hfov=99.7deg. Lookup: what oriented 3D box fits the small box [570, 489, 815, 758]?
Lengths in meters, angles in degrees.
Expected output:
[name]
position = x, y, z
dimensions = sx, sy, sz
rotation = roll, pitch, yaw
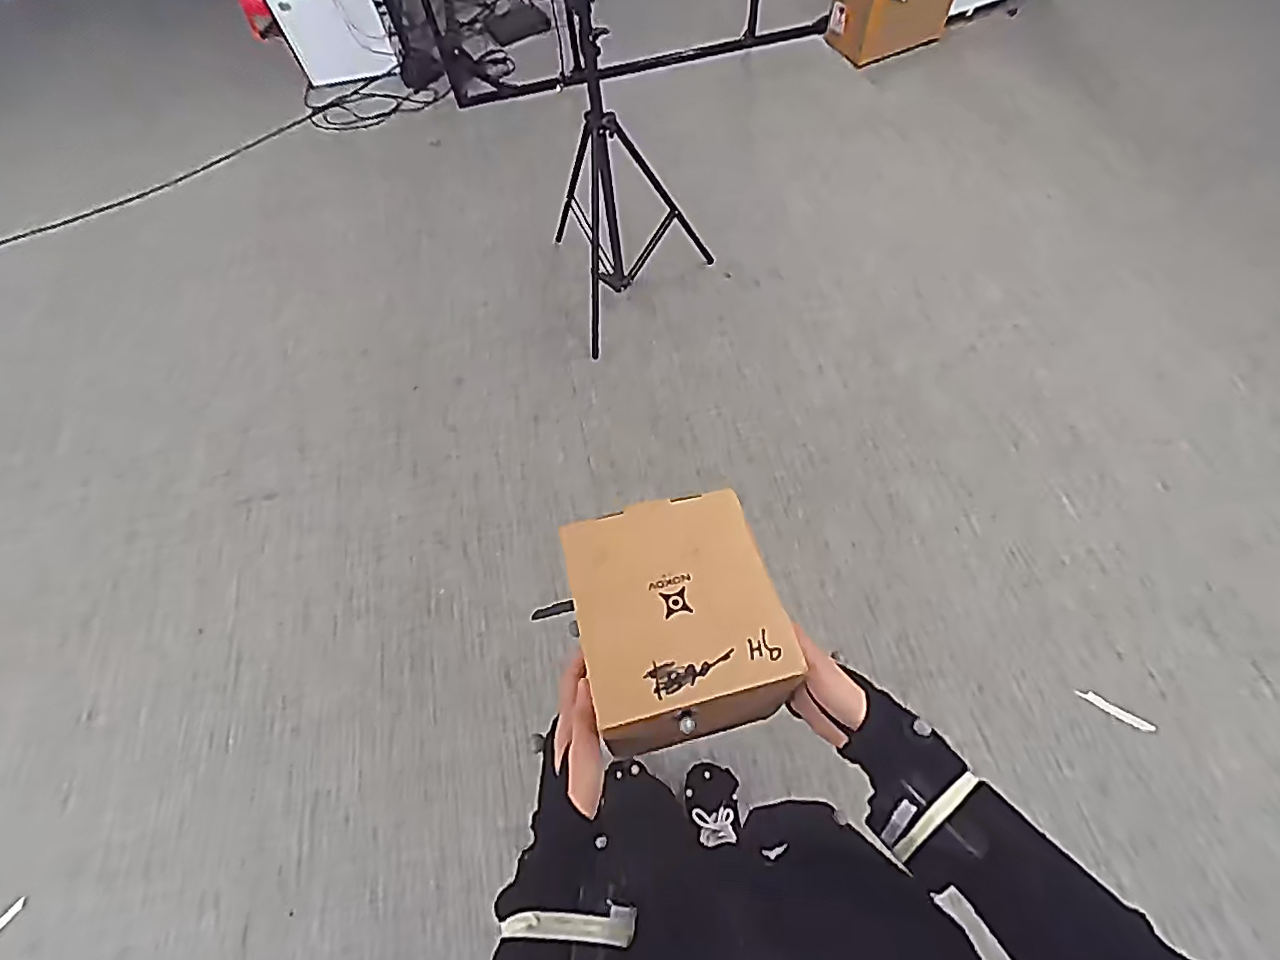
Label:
[small box]
position = 0.036, 0.138, 0.509
dimensions = 0.168, 0.176, 0.179
rotation = -13, 56, -6
